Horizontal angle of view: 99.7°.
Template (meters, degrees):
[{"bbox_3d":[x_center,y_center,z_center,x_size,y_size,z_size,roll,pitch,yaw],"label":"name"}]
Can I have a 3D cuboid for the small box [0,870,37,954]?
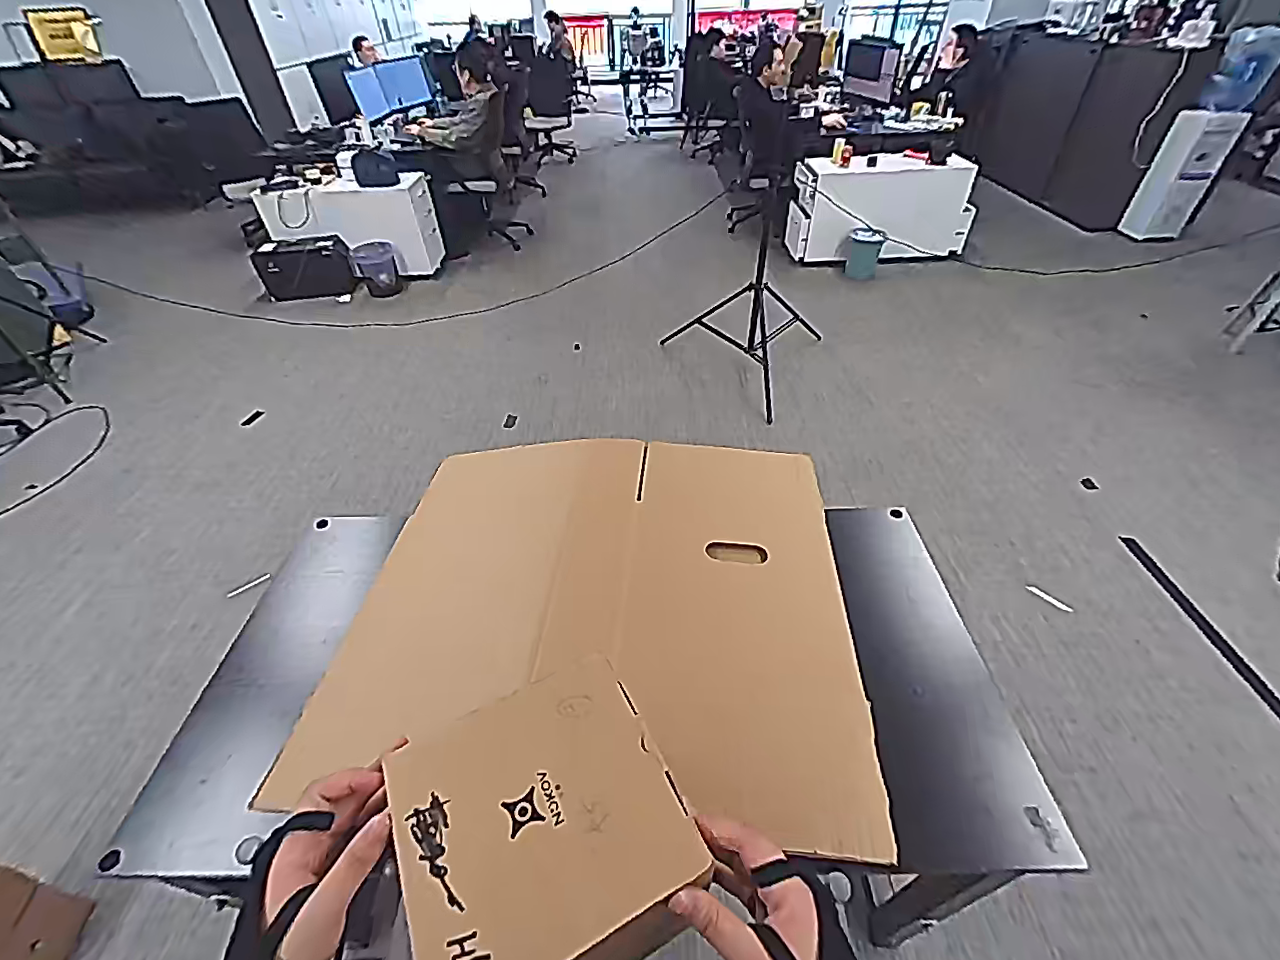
[{"bbox_3d":[-1.328,0.849,1.017,0.168,0.176,0.179,-5,41,-4],"label":"small box"}]

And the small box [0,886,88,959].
[{"bbox_3d":[-1.322,0.974,1.121,0.168,0.176,0.179,-4,43,-2],"label":"small box"}]
